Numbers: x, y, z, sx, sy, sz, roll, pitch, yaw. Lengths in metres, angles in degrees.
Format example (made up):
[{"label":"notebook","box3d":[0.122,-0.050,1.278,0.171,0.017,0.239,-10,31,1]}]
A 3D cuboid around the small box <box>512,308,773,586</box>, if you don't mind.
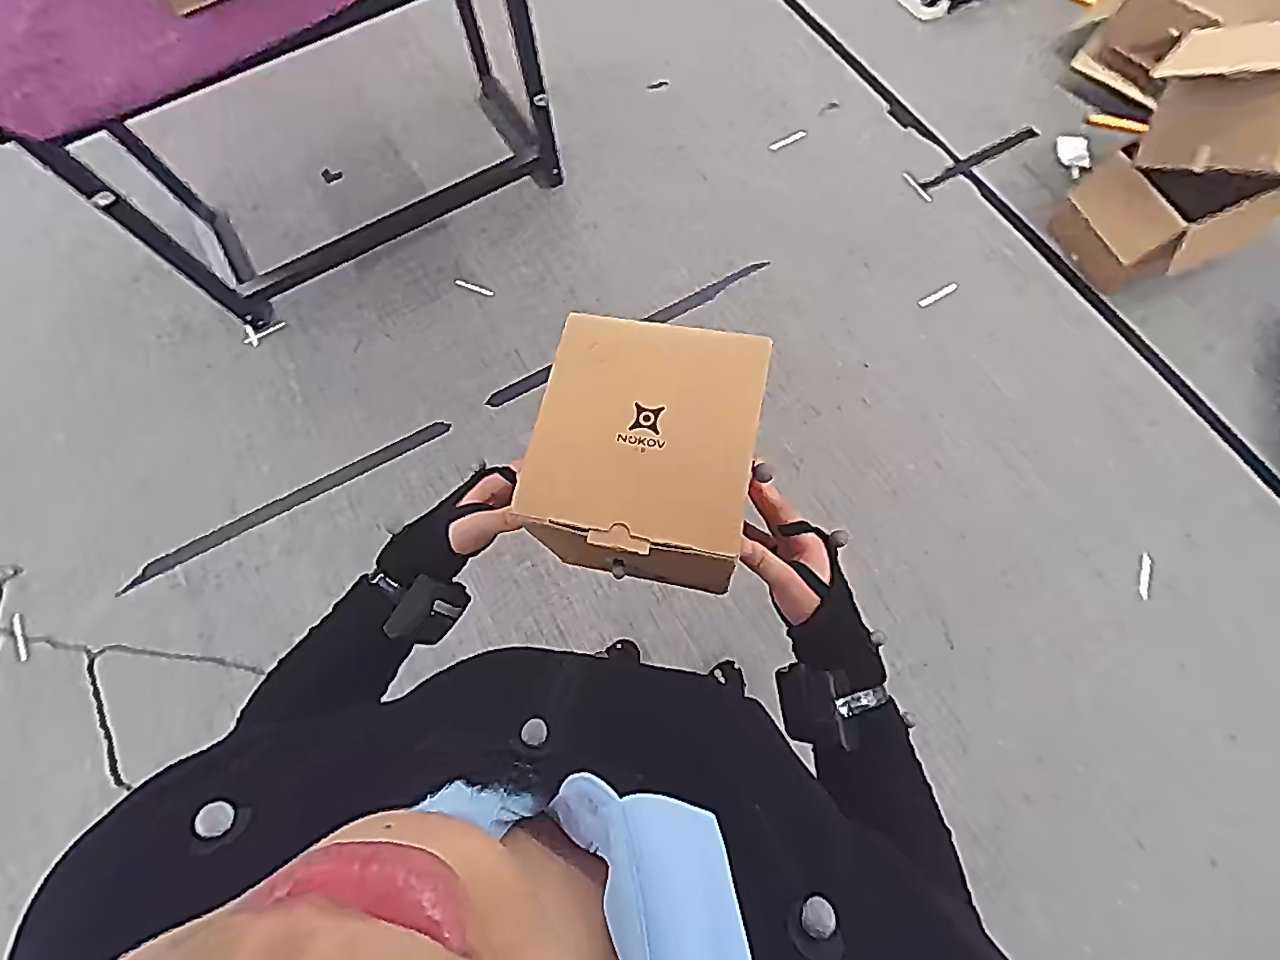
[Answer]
[{"label":"small box","box3d":[0.012,-0.018,0.468,0.168,0.176,0.179,9,72,9]}]
